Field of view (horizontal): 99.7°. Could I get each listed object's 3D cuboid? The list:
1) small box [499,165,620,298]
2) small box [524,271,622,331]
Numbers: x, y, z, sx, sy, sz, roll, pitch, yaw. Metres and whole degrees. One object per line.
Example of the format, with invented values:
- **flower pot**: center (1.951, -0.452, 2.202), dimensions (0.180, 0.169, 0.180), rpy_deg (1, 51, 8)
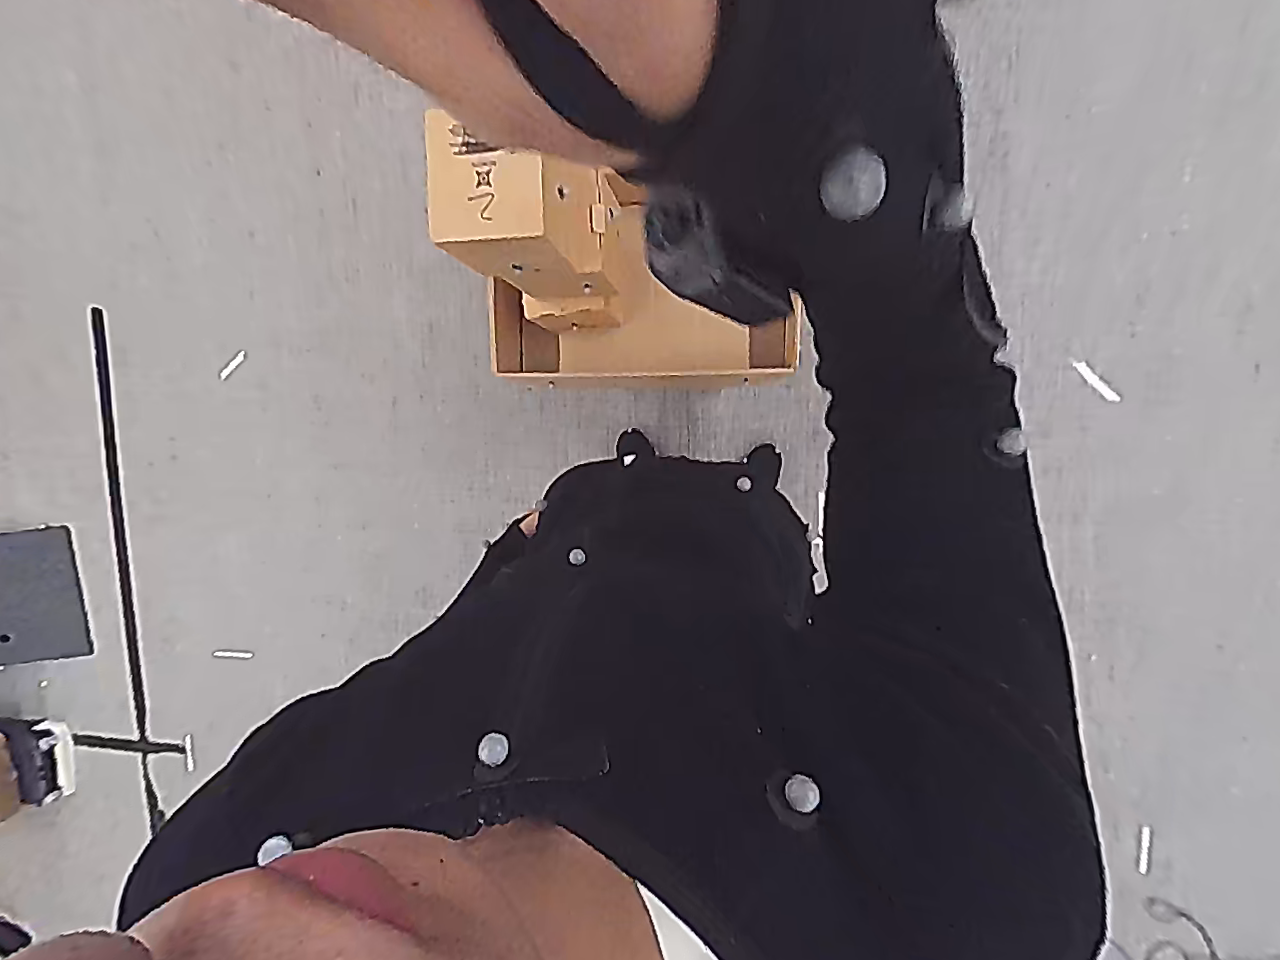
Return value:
- **small box**: center (-0.132, -0.424, 0.949), dimensions (0.179, 0.176, 0.168), rpy_deg (0, 95, 9)
- **small box**: center (-0.136, -0.417, 1.117), dimensions (0.168, 0.176, 0.179), rpy_deg (-4, 95, 10)
